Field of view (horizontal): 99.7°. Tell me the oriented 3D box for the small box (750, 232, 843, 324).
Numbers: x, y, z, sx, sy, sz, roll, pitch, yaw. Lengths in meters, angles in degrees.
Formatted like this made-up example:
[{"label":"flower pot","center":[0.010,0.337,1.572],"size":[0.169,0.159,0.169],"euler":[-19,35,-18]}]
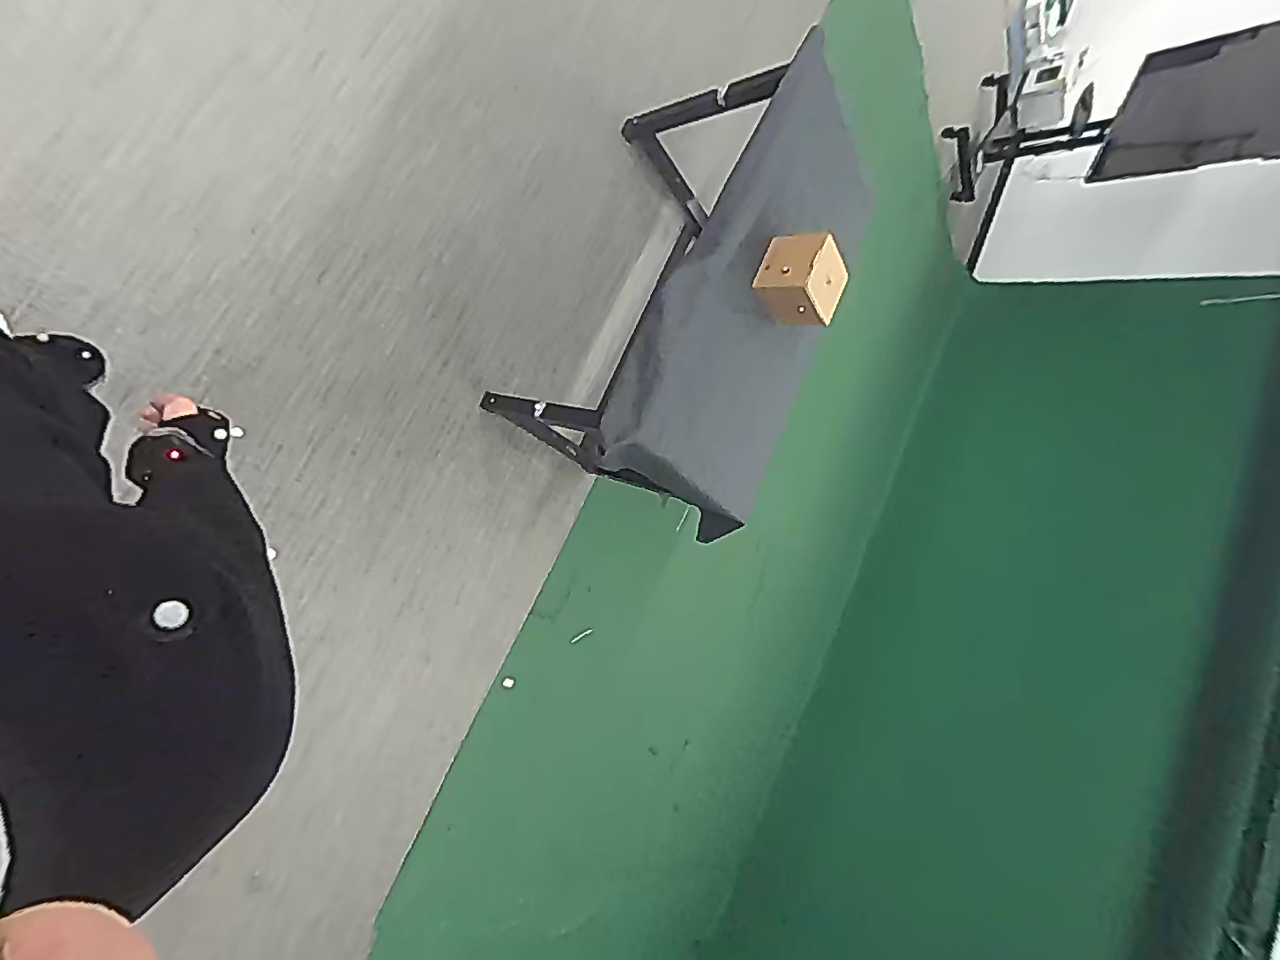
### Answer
[{"label":"small box","center":[0.428,-0.550,1.488],"size":[0.179,0.176,0.168],"euler":[35,78,-48]}]
